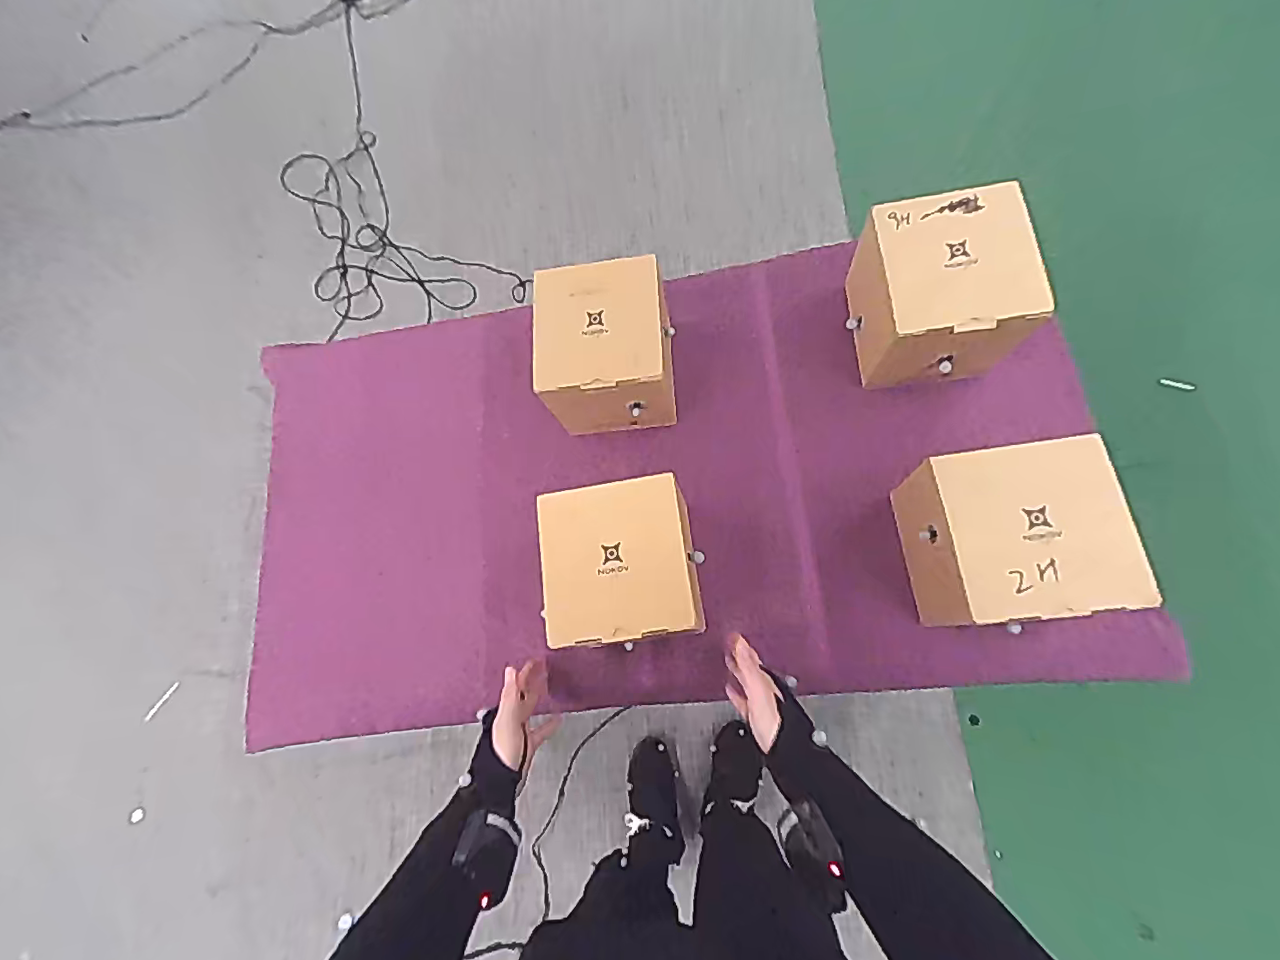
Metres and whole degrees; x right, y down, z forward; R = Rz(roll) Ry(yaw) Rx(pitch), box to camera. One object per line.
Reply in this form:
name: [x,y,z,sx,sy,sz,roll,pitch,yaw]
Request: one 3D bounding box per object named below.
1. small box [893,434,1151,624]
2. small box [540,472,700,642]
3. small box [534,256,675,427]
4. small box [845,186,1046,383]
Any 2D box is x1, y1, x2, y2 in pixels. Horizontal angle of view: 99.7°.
small box: [0.406,0.066,0.616,0.168,0.176,0.179,-8,73,9]
small box: [-0.019,0.105,0.682,0.168,0.176,0.179,-10,74,7]
small box: [-0.042,-0.180,0.762,0.168,0.176,0.179,-4,75,8]
small box: [0.377,-0.236,0.702,0.168,0.176,0.179,-6,77,8]
